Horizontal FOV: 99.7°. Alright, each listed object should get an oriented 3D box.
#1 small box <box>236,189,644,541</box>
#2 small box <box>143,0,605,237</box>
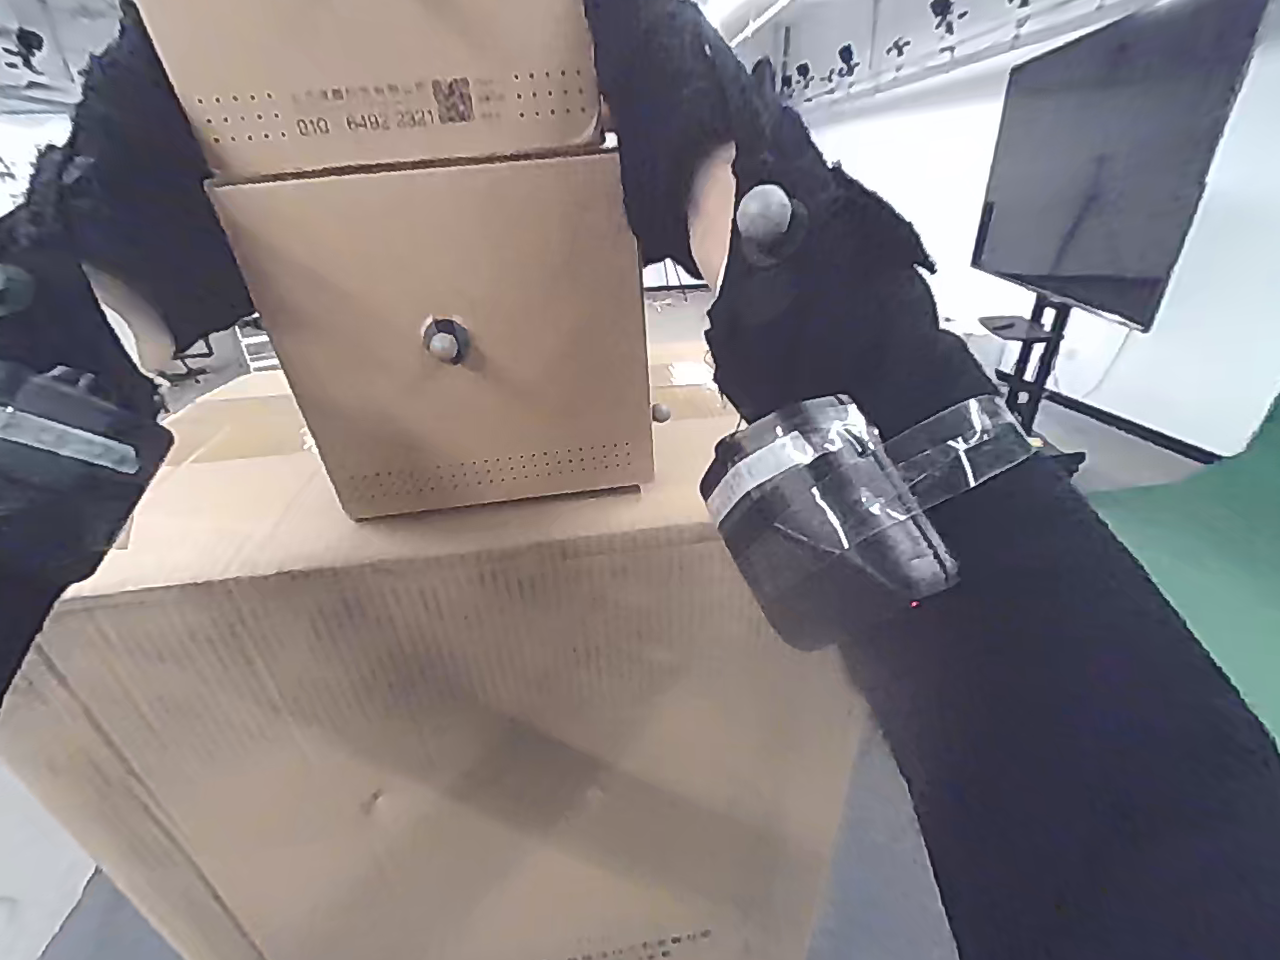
[{"bbox_3d":[-0.092,-0.080,0.347,0.179,0.176,0.168,-8,31,-3],"label":"small box"},{"bbox_3d":[-0.116,-0.224,0.277,0.168,0.176,0.179,-10,31,-5],"label":"small box"}]
